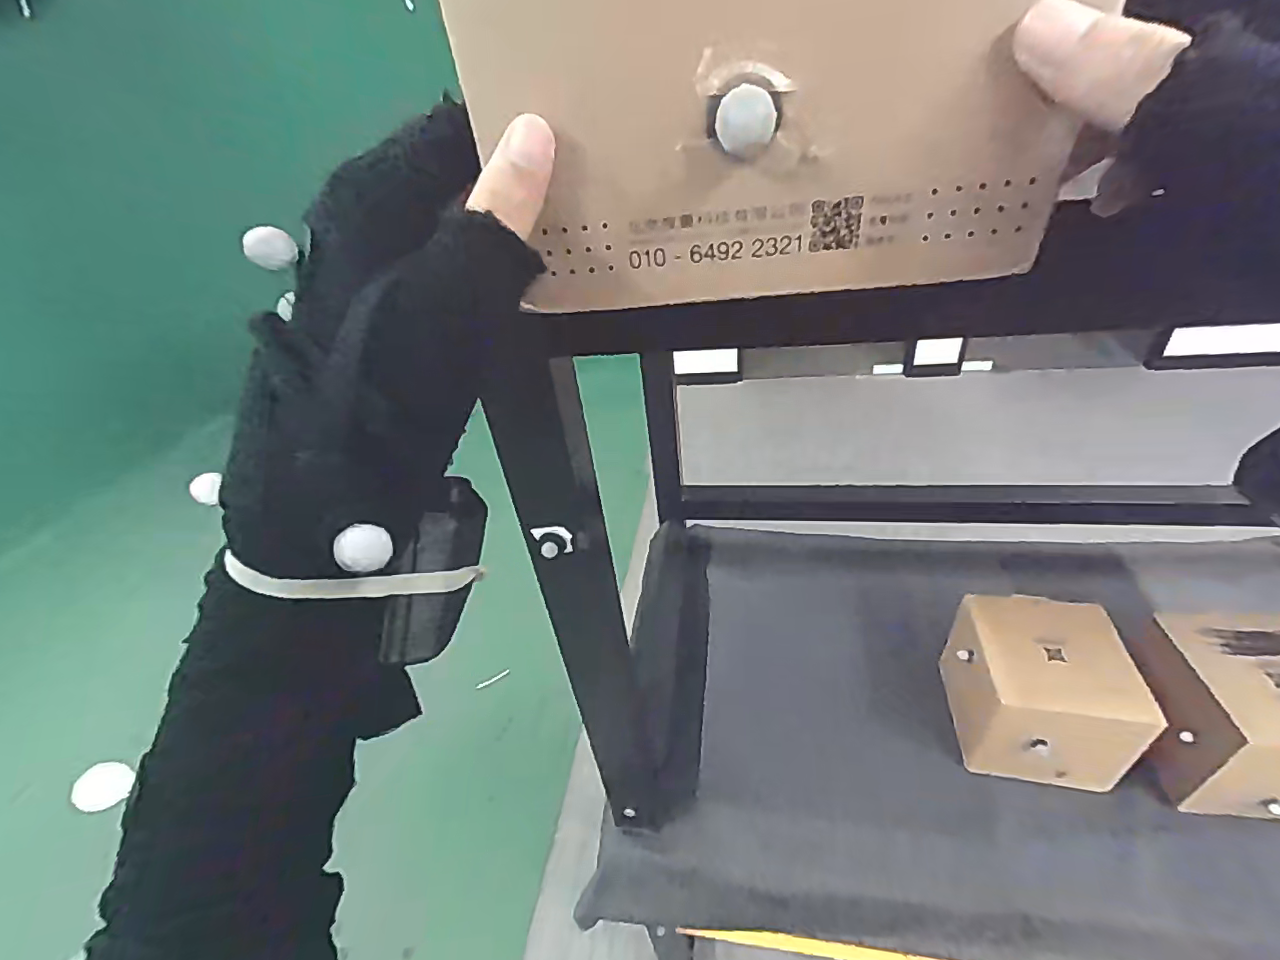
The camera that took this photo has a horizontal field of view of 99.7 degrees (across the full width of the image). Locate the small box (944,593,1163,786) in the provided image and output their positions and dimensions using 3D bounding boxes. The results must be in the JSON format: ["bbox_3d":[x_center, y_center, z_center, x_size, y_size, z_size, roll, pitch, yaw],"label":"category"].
[{"bbox_3d":[0.531,0.280,0.728,0.168,0.176,0.179,2,37,14],"label":"small box"}]

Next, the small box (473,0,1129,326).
[{"bbox_3d":[0.040,-0.170,0.194,0.168,0.176,0.179,-3,40,7],"label":"small box"}]
